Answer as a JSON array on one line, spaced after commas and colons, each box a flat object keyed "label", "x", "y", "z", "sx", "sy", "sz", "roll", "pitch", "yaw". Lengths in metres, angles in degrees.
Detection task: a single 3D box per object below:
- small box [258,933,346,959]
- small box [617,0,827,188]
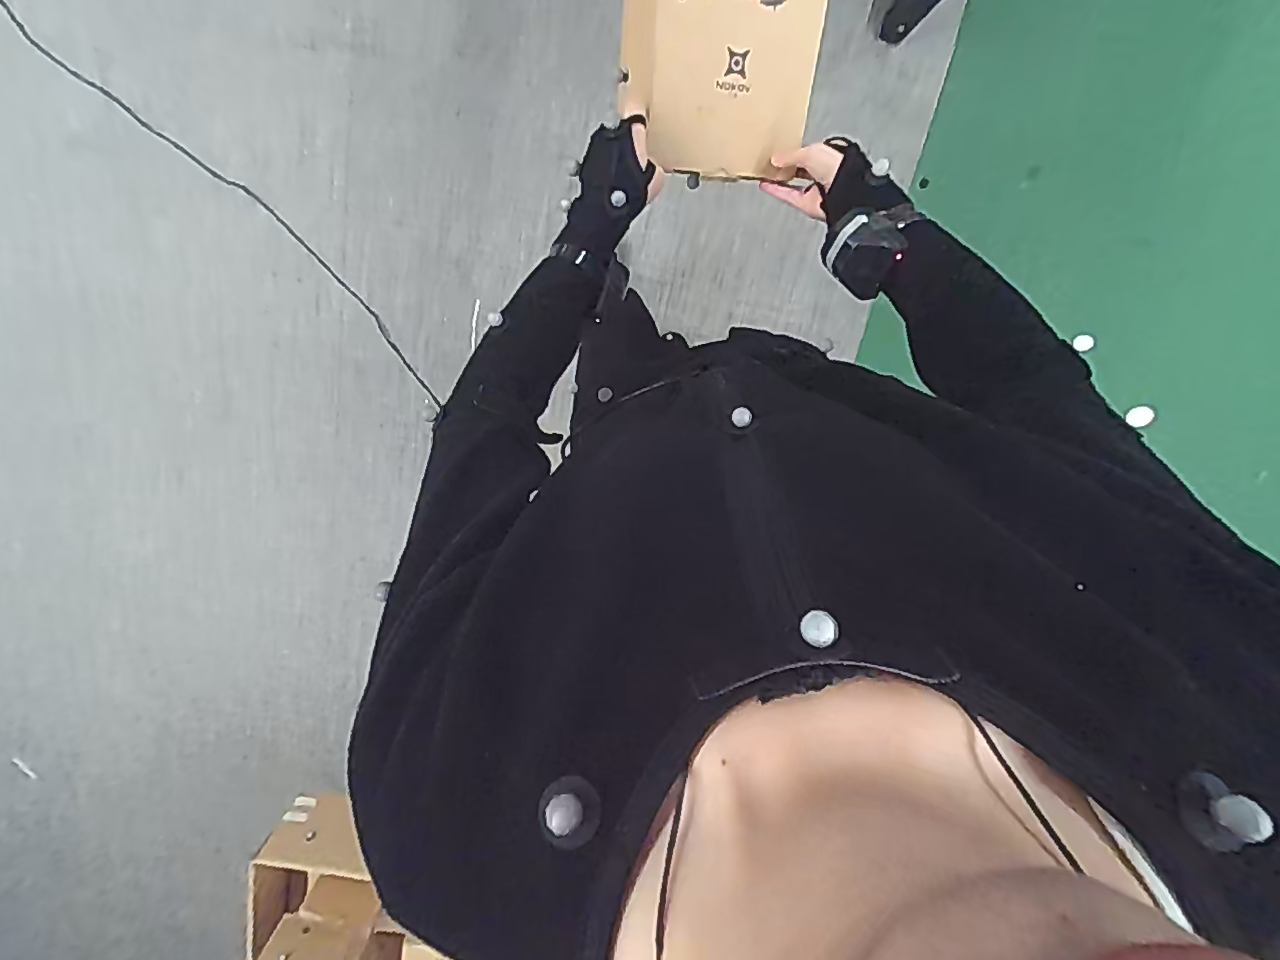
[{"label": "small box", "x": -0.741, "y": 1.097, "z": 1.120, "sx": 0.168, "sy": 0.176, "sz": 0.179, "roll": 18, "pitch": 104, "yaw": -5}, {"label": "small box", "x": 0.071, "y": -0.428, "z": 0.585, "sx": 0.168, "sy": 0.176, "sz": 0.179, "roll": -2, "pitch": 122, "yaw": -13}]
